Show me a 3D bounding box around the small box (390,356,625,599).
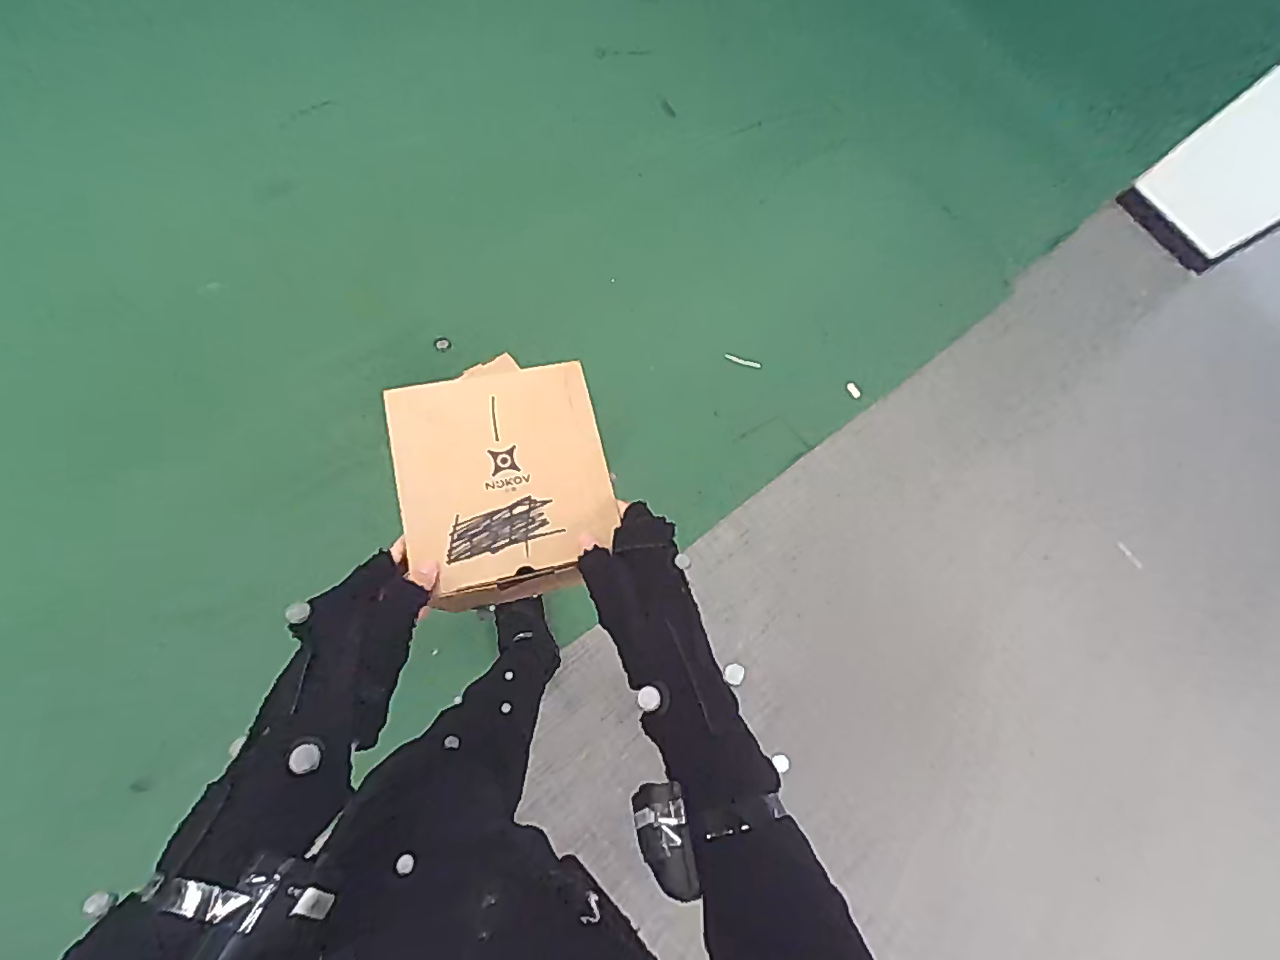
[{"bbox_3d":[-0.119,0.010,0.515,0.168,0.176,0.179,-12,75,-13],"label":"small box"}]
